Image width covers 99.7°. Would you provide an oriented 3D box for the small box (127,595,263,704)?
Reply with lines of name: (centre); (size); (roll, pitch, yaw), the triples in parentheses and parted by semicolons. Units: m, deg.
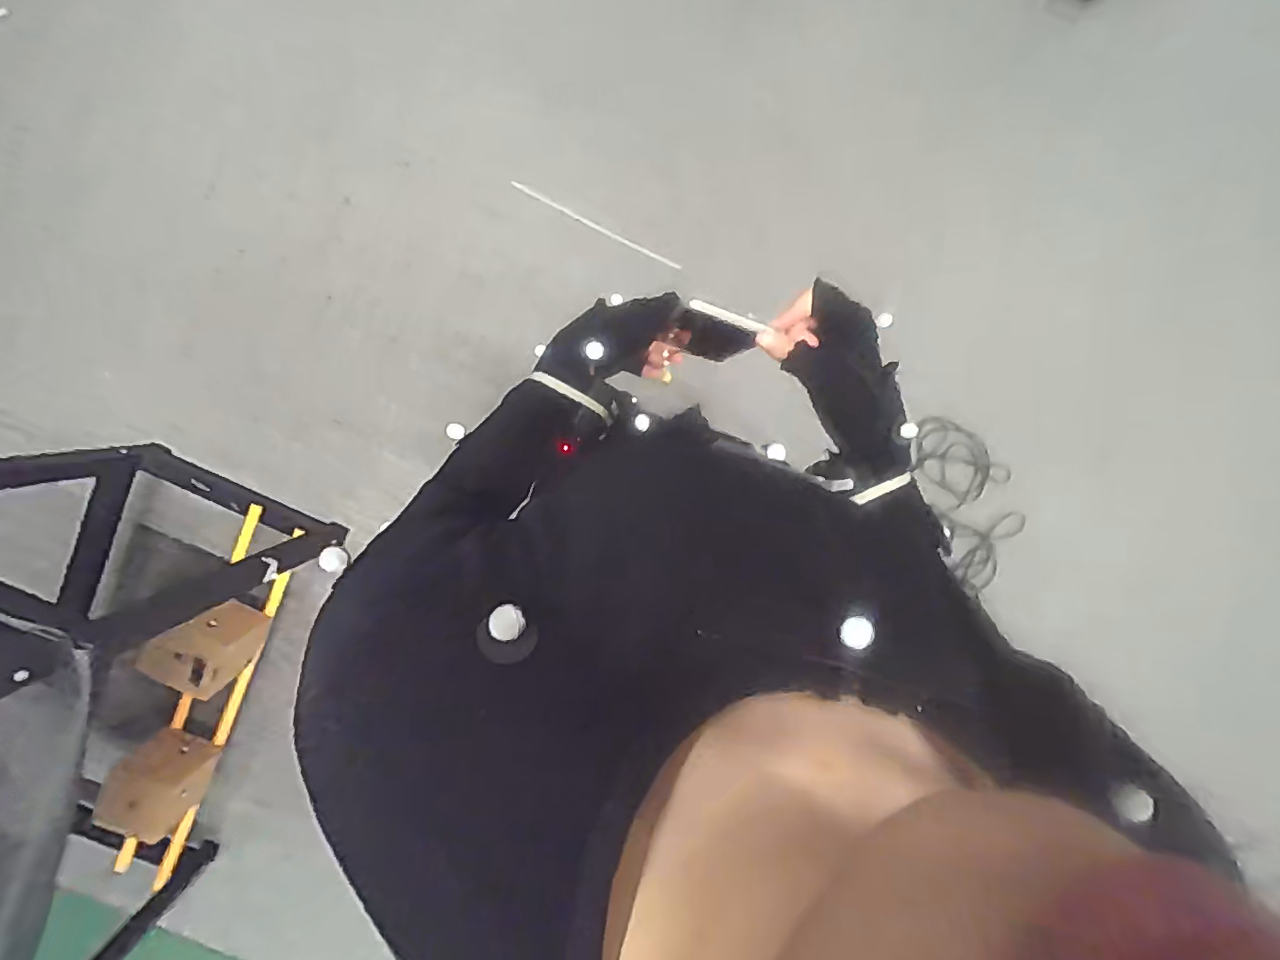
small box: (-1.097, 0.413, 1.349); (0.179, 0.176, 0.168); (29, 97, -4)
